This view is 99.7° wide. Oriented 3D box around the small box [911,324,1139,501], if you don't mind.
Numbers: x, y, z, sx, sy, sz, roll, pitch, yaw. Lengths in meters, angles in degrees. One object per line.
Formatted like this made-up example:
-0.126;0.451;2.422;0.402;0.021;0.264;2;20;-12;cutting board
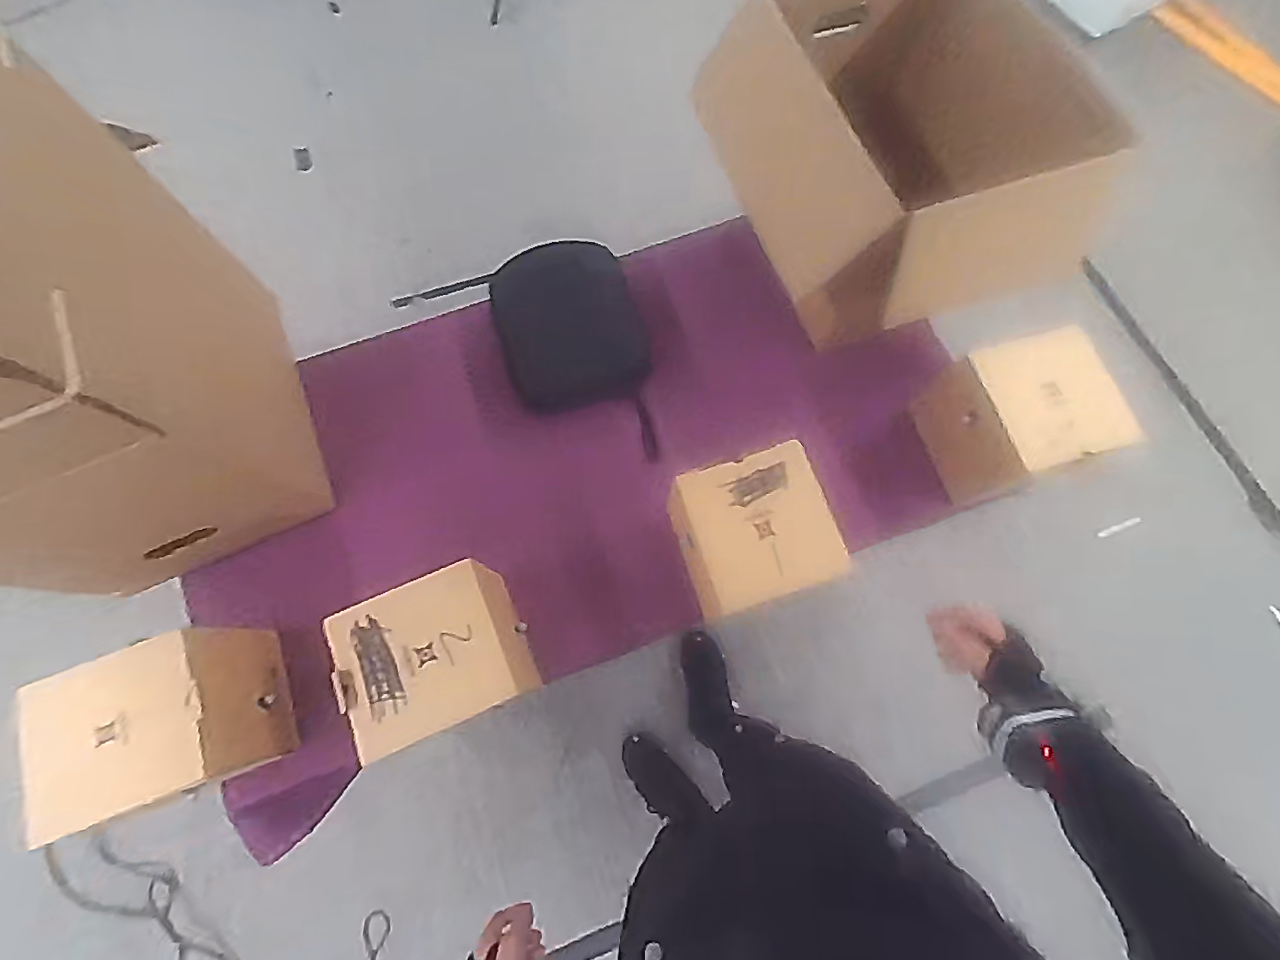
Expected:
0.524;-0.088;0.770;0.168;0.176;0.179;-15;74;-4;small box

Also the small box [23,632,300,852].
-0.555;0.296;0.647;0.179;0.176;0.168;-22;75;-8;small box

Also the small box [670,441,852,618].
0.144;0.074;0.720;0.168;0.176;0.179;-18;75;-5;small box
